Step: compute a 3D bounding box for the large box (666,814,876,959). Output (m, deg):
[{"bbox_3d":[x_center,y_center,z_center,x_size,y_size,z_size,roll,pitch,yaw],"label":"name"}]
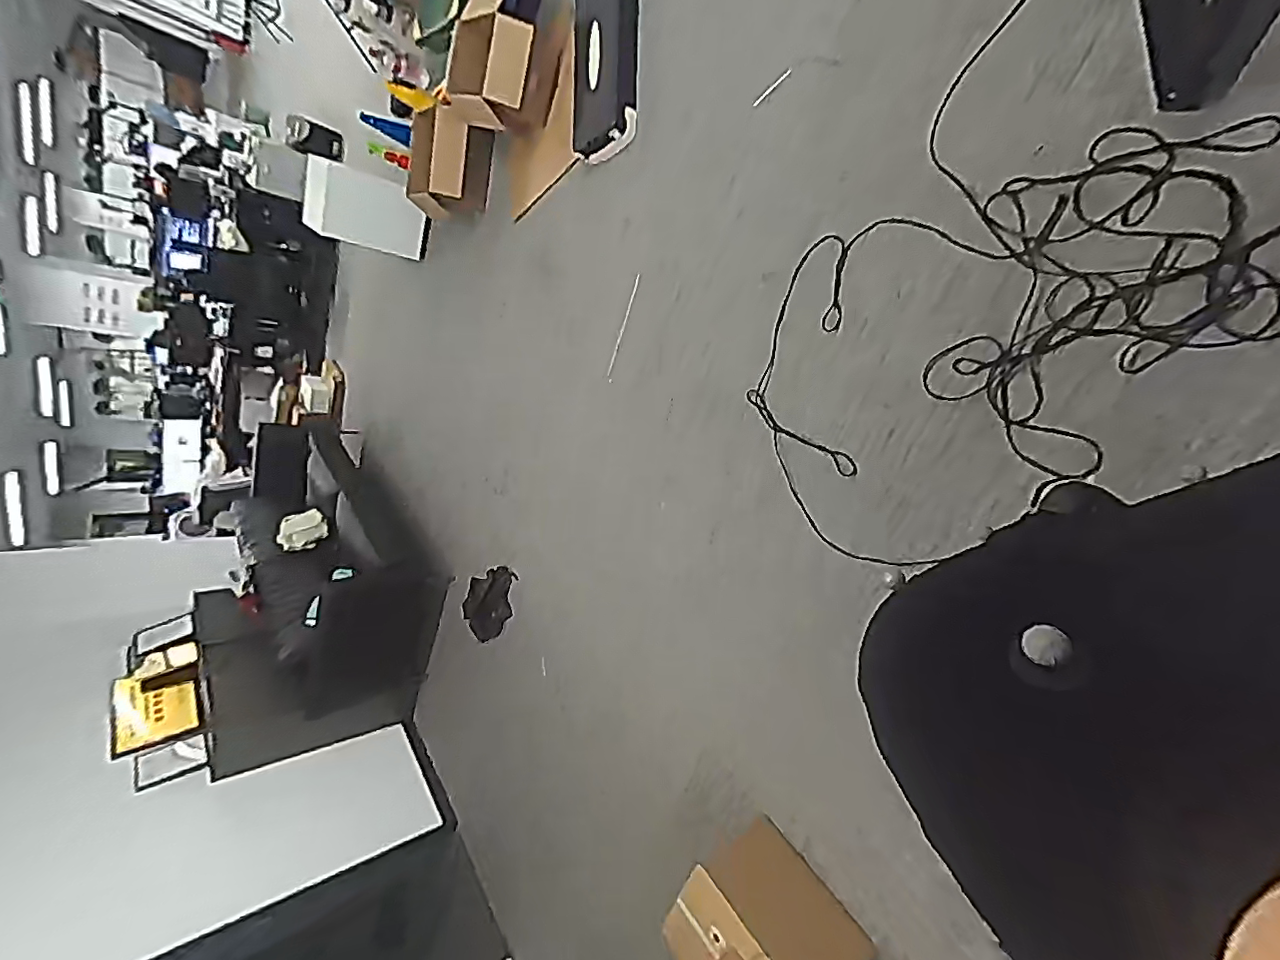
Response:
[{"bbox_3d":[0.349,1.247,1.487,0.408,0.320,0.320,40,118,41],"label":"large box"}]
